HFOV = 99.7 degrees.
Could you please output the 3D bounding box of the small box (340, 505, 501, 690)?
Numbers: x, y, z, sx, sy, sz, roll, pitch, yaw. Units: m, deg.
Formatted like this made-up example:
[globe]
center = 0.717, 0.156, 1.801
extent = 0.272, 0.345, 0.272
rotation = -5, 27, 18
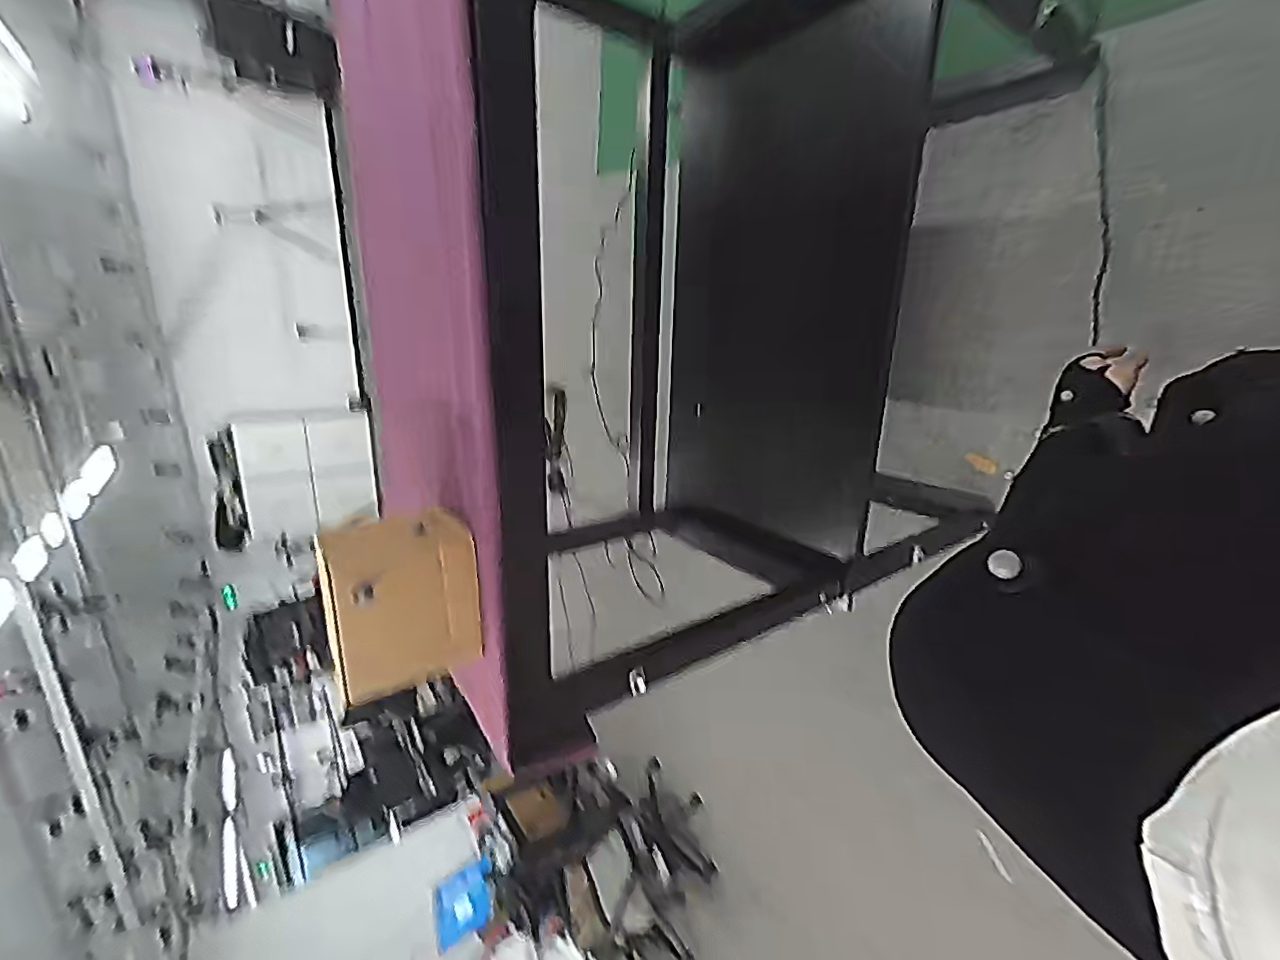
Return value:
[small box]
center = -0.298, 0.146, 0.740
extent = 0.168, 0.176, 0.179
rotation = 19, 113, 54
